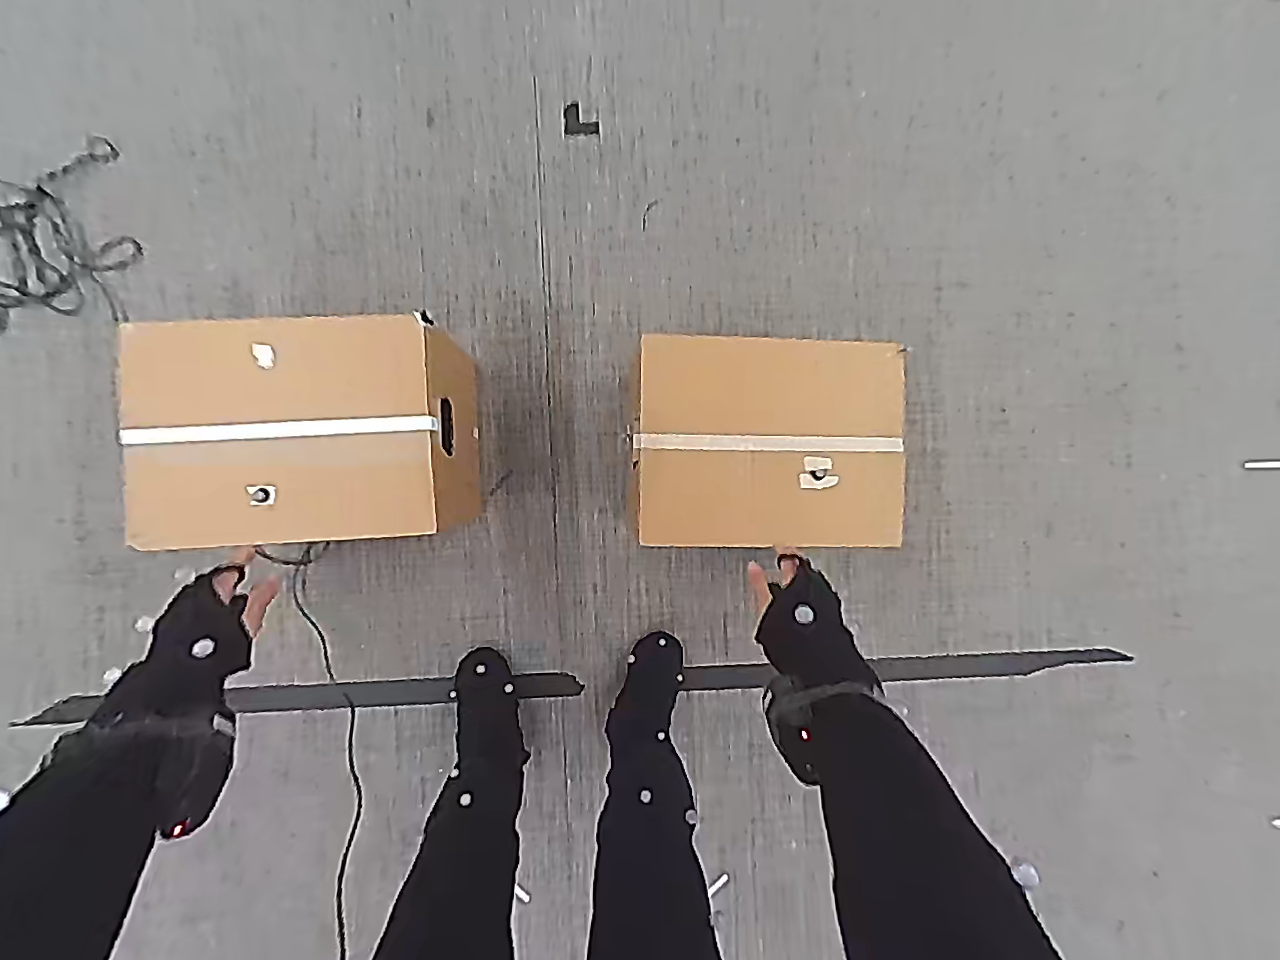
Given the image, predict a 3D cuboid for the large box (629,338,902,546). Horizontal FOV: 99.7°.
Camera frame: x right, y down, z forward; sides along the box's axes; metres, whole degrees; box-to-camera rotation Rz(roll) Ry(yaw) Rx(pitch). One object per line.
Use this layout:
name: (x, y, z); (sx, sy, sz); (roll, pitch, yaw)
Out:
large box: (0.190, -0.055, 0.965); (0.408, 0.320, 0.320); (1, 90, -5)
